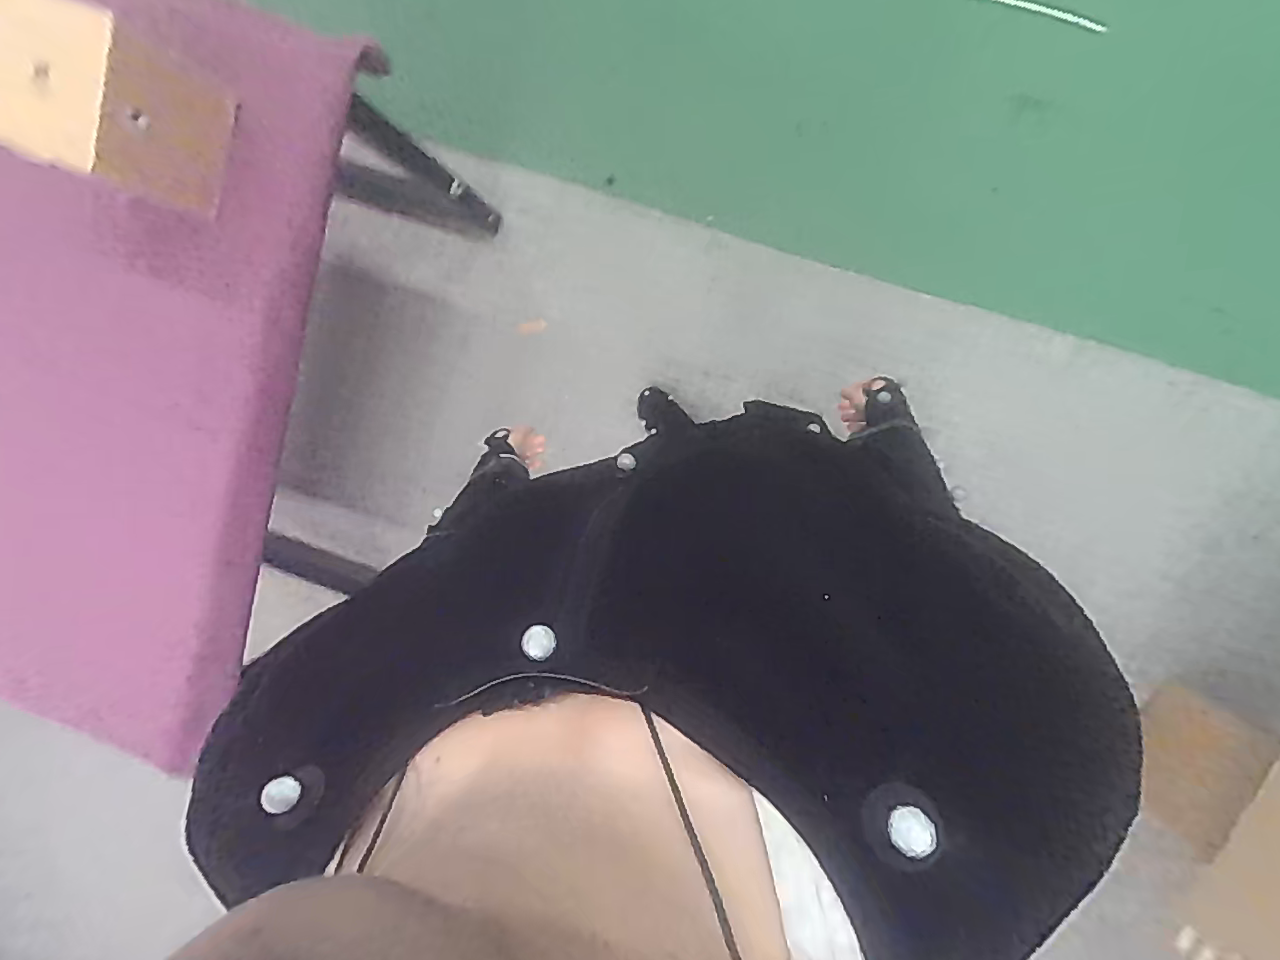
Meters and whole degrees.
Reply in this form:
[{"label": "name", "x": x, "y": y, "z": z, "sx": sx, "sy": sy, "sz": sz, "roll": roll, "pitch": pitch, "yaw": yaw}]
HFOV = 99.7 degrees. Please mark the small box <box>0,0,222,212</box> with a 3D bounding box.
[{"label": "small box", "x": -0.680, "y": -0.470, "z": 0.684, "sx": 0.168, "sy": 0.176, "sz": 0.179, "roll": 21, "pitch": 101, "yaw": 3}]
